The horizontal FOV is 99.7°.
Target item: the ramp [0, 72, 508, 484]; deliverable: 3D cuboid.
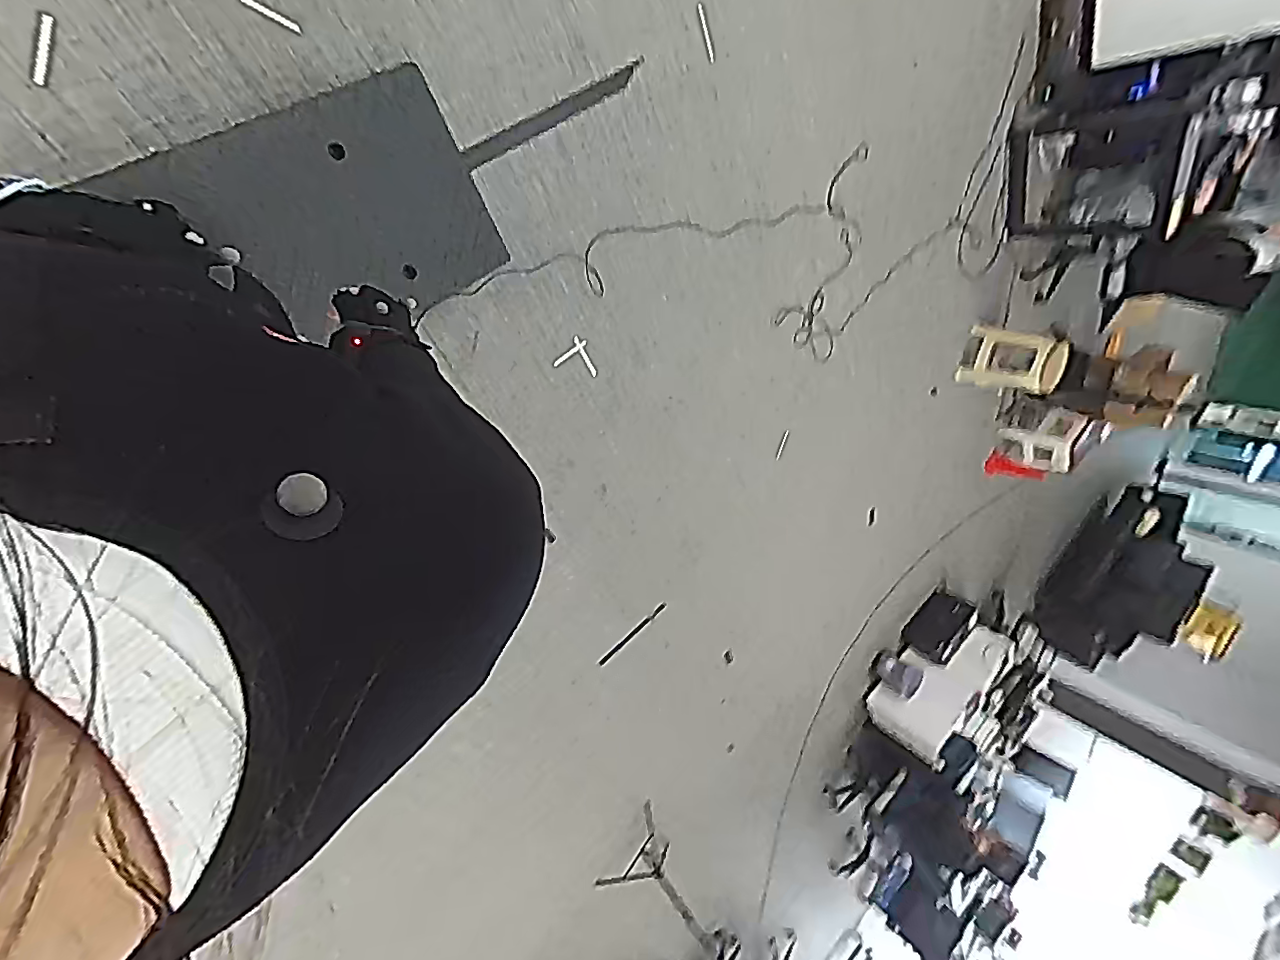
[{"bbox_3d":[-0.778,-0.493,1.231,0.991,0.206,0.509,-42,127,-17],"label":"ramp"}]
